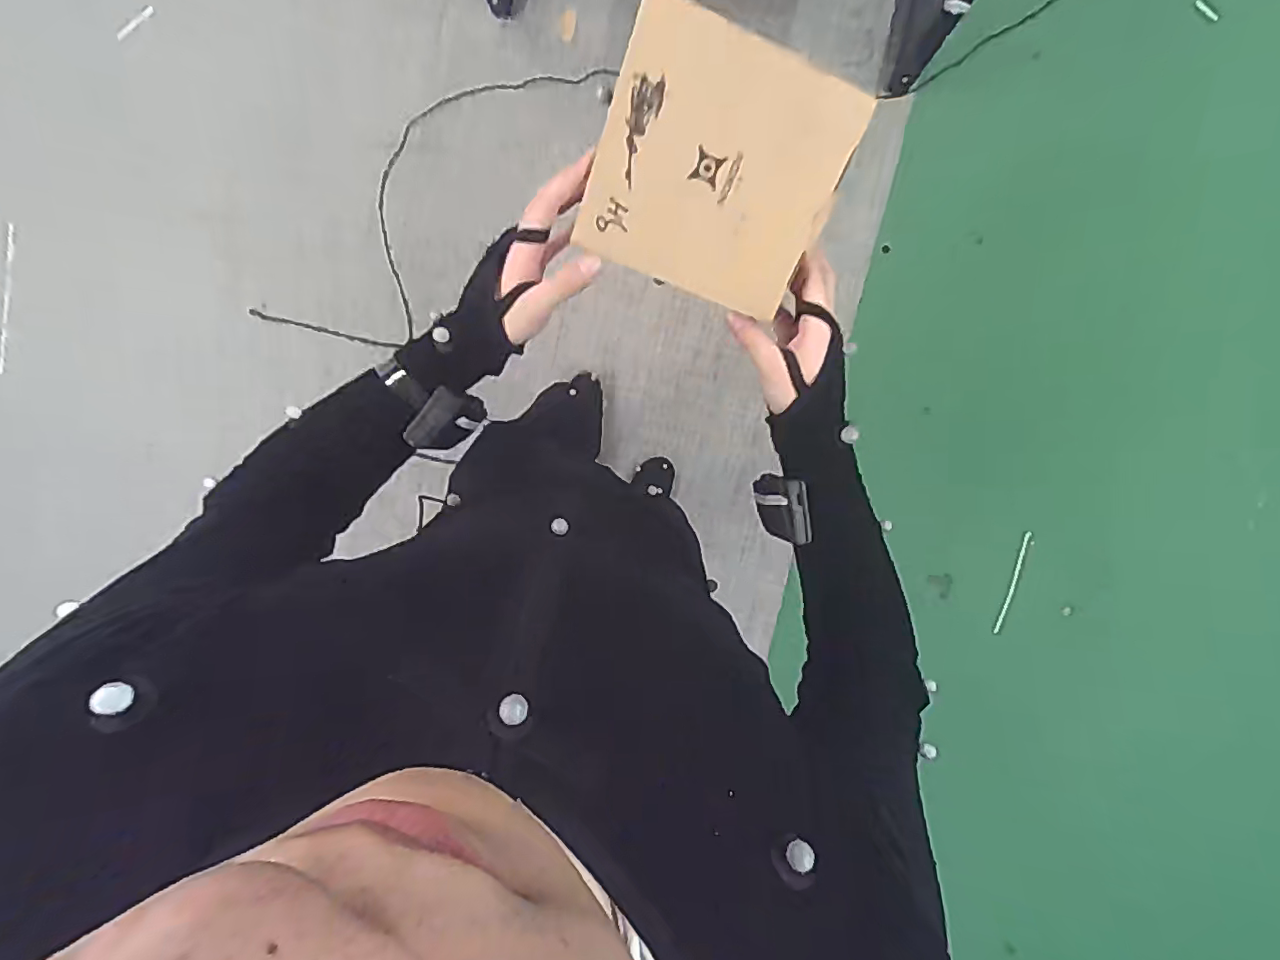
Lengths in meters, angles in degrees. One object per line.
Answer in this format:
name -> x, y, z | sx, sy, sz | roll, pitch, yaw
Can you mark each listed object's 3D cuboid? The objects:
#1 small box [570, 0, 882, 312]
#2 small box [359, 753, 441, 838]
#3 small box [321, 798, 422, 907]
small box -> 0.053, -0.264, 0.452 | 0.179, 0.176, 0.168 | 18, 115, -12
small box -> -0.711, 0.941, 1.616 | 0.168, 0.176, 0.179 | -2, 96, 2
small box -> -0.716, 0.990, 1.458 | 0.168, 0.176, 0.179 | -12, 96, 3
